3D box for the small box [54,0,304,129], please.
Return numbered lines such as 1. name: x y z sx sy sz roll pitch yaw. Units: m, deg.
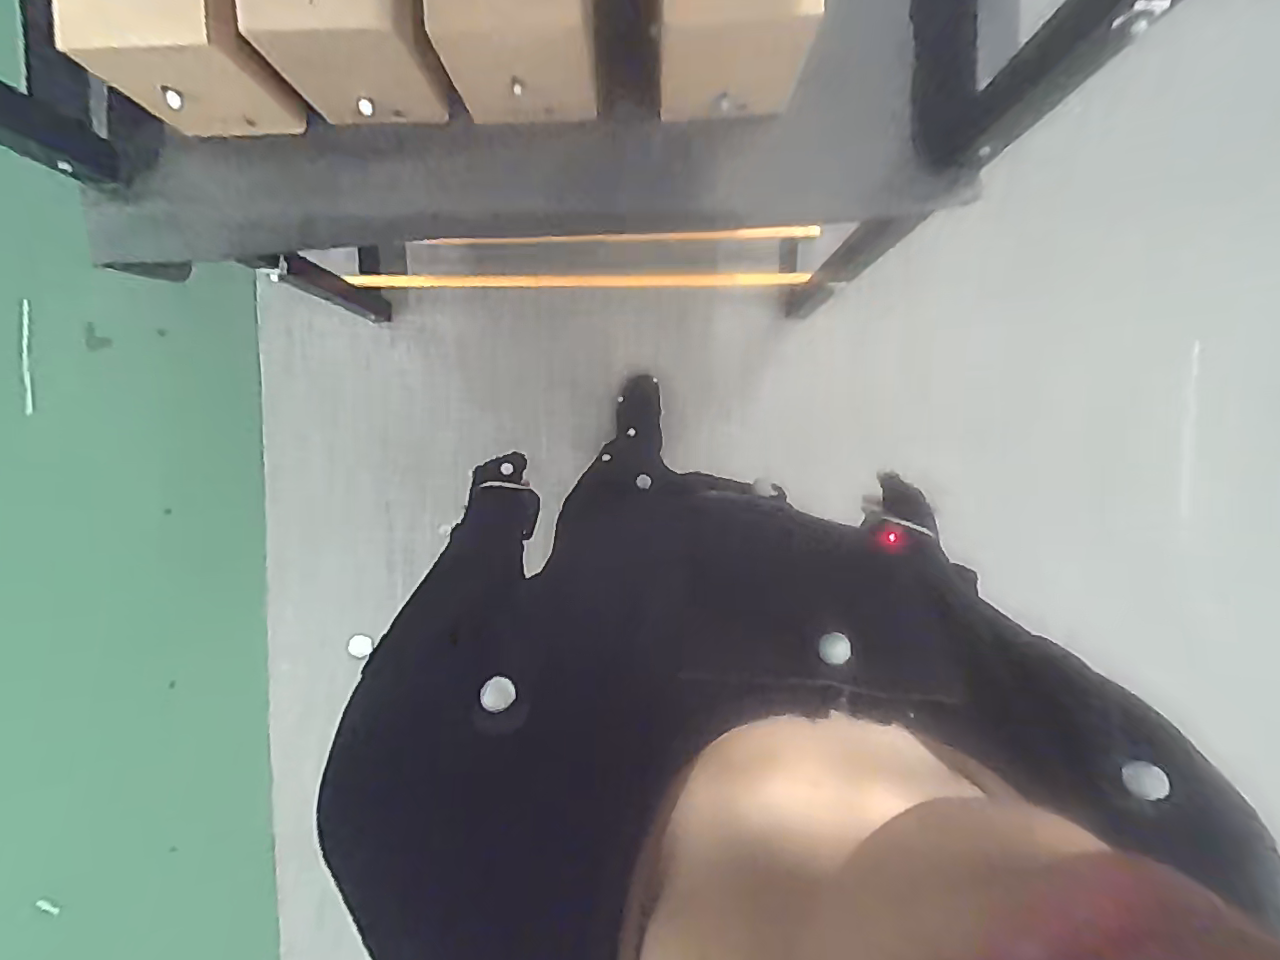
1. small box: -0.530 -0.548 0.643 0.168 0.176 0.179 -1 93 1
